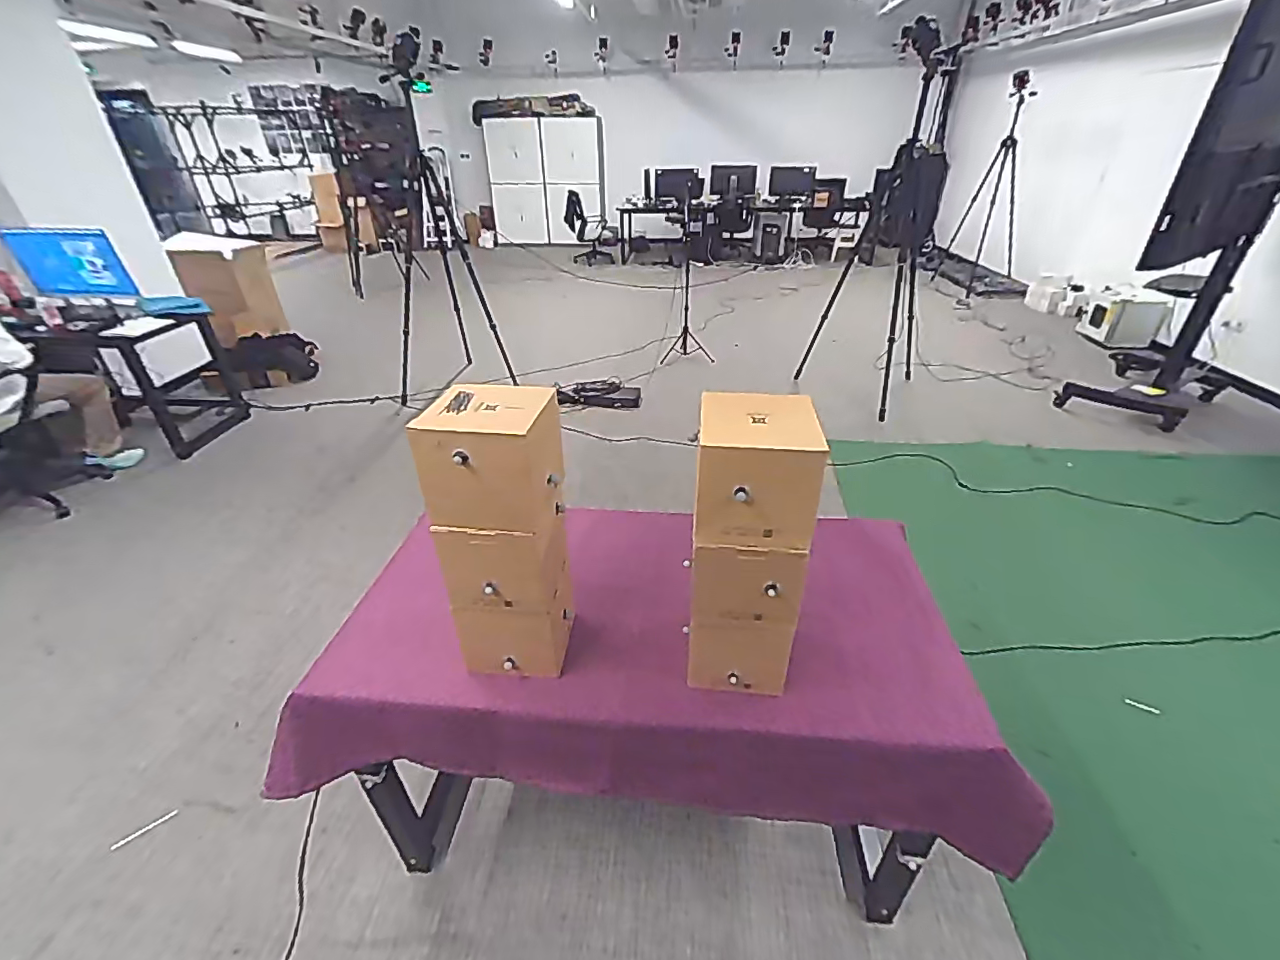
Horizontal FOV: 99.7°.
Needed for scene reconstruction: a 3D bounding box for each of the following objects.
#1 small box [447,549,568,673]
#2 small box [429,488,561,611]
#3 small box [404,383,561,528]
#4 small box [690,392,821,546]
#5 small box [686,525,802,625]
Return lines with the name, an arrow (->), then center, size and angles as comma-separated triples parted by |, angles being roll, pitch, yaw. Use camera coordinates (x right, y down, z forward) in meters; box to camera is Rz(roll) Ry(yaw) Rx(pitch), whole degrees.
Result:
small box -> -0.235, 0.242, 1.014 | 0.179, 0.176, 0.168 | 2, 32, 3
small box -> -0.236, 0.100, 0.930 | 0.168, 0.176, 0.179 | 2, 33, 5
small box -> -0.231, -0.040, 0.842 | 0.179, 0.176, 0.168 | 4, 33, 6
small box -> 0.162, -0.018, 0.808 | 0.168, 0.176, 0.179 | 3, 32, 5
small box -> 0.164, 0.119, 0.895 | 0.168, 0.176, 0.179 | 3, 33, 5
